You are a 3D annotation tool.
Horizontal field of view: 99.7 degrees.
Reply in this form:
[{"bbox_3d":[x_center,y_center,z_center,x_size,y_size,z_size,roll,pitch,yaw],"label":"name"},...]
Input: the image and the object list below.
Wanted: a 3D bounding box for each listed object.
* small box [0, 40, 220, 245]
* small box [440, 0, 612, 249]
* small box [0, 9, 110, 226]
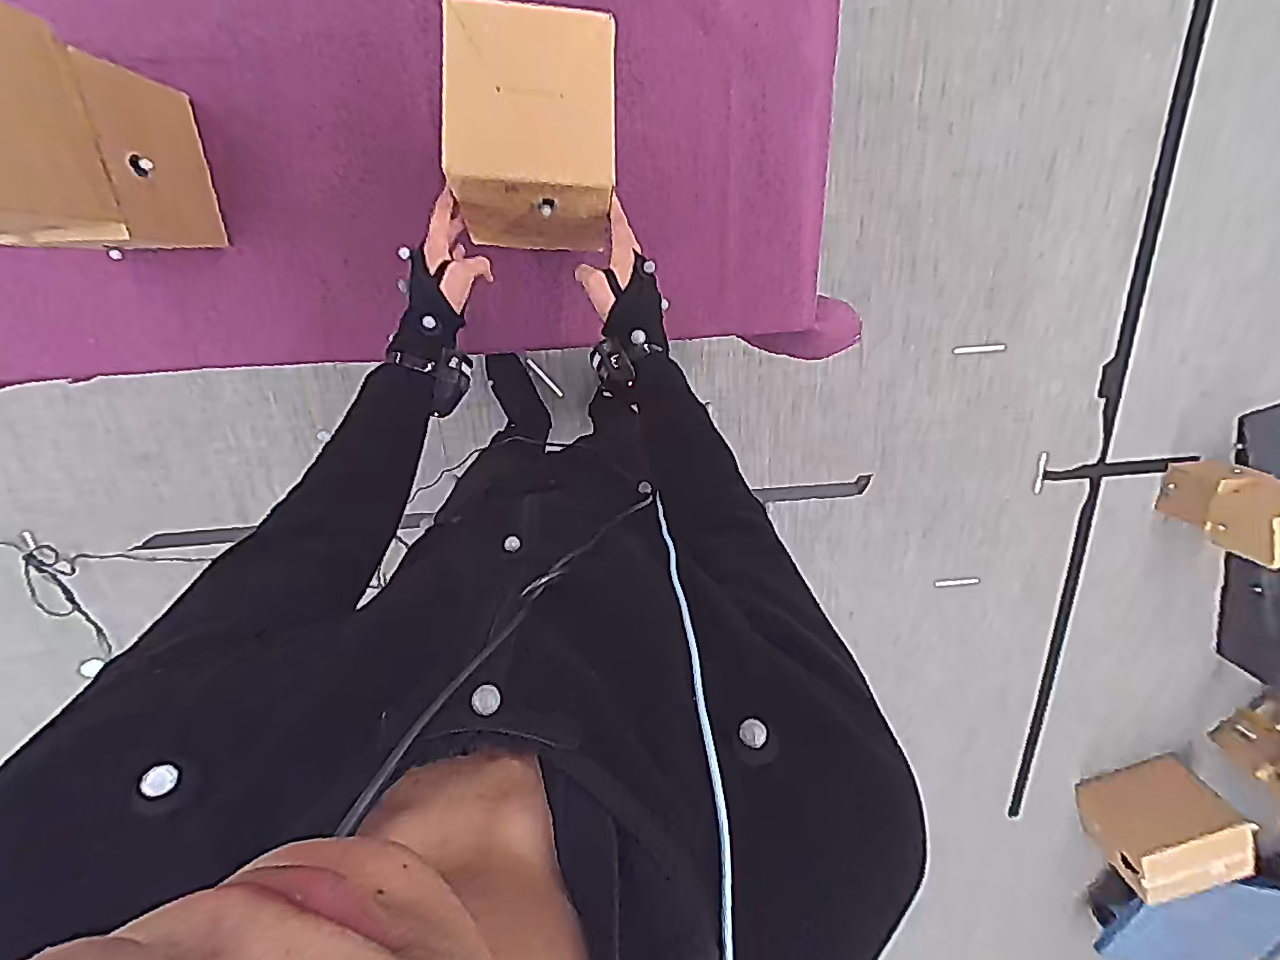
[{"bbox_3d":[-0.629,-0.363,0.613,0.168,0.176,0.179,-2,111,-4],"label":"small box"},{"bbox_3d":[-0.120,-0.386,0.603,0.168,0.176,0.179,0,86,-9],"label":"small box"},{"bbox_3d":[-0.623,-0.315,0.456,0.168,0.176,0.179,-6,111,-2],"label":"small box"}]
